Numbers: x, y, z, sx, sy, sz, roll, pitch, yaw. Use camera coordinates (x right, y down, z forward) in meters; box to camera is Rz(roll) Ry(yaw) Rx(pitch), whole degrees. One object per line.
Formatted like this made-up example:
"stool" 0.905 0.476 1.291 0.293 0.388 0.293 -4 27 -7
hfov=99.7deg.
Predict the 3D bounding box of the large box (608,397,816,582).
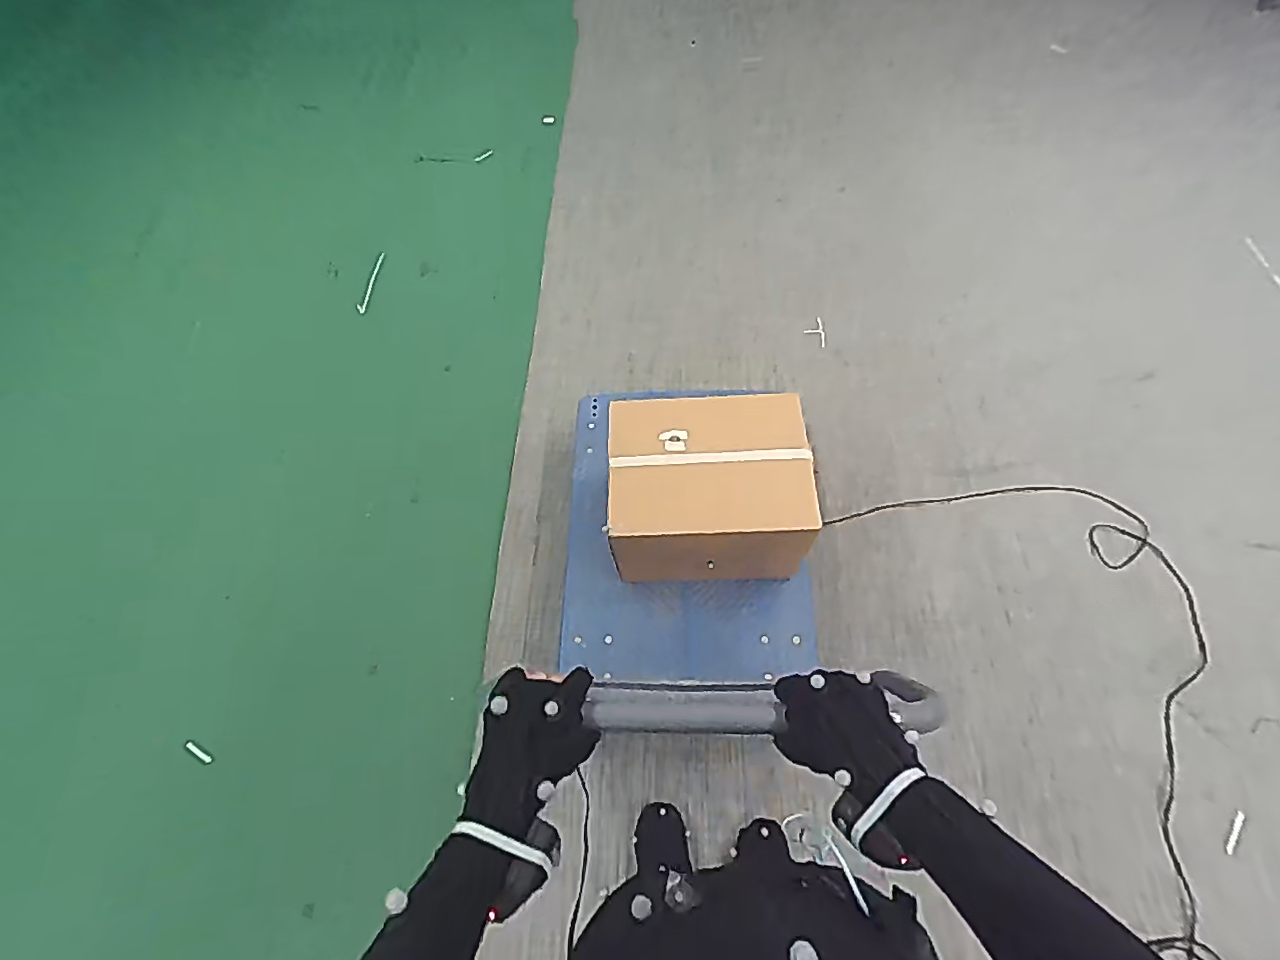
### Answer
"large box" 0.148 0.038 1.229 0.408 0.320 0.320 -3 62 4
